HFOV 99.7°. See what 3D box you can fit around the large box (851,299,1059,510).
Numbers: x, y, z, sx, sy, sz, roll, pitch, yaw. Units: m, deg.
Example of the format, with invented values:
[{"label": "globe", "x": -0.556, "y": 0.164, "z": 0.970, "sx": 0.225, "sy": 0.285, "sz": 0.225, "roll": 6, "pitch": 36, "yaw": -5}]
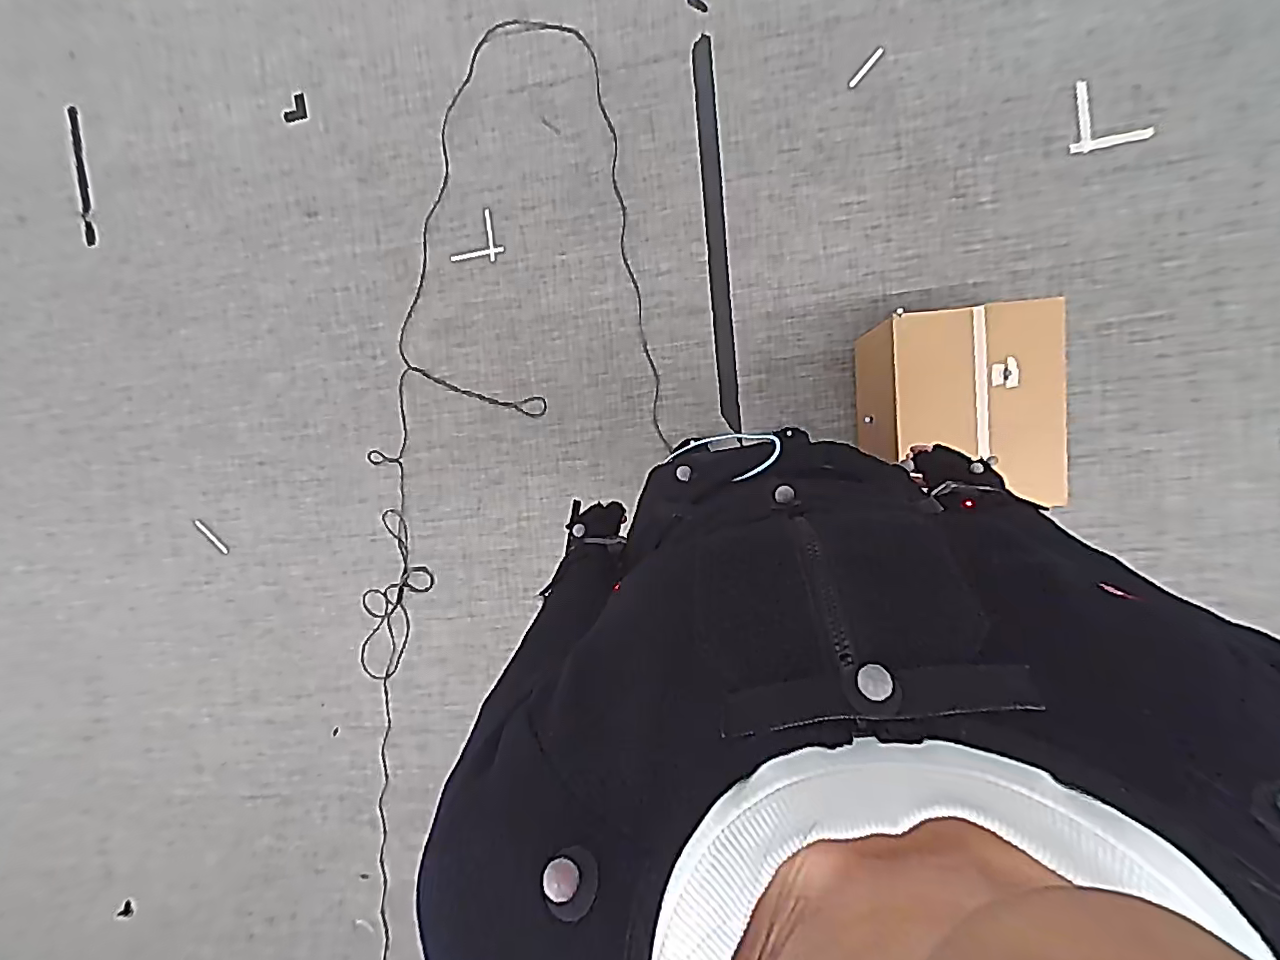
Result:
[{"label": "large box", "x": 0.685, "y": -0.155, "z": 1.233, "sx": 0.320, "sy": 0.320, "sz": 0.408, "roll": -4, "pitch": 93, "yaw": 7}]
